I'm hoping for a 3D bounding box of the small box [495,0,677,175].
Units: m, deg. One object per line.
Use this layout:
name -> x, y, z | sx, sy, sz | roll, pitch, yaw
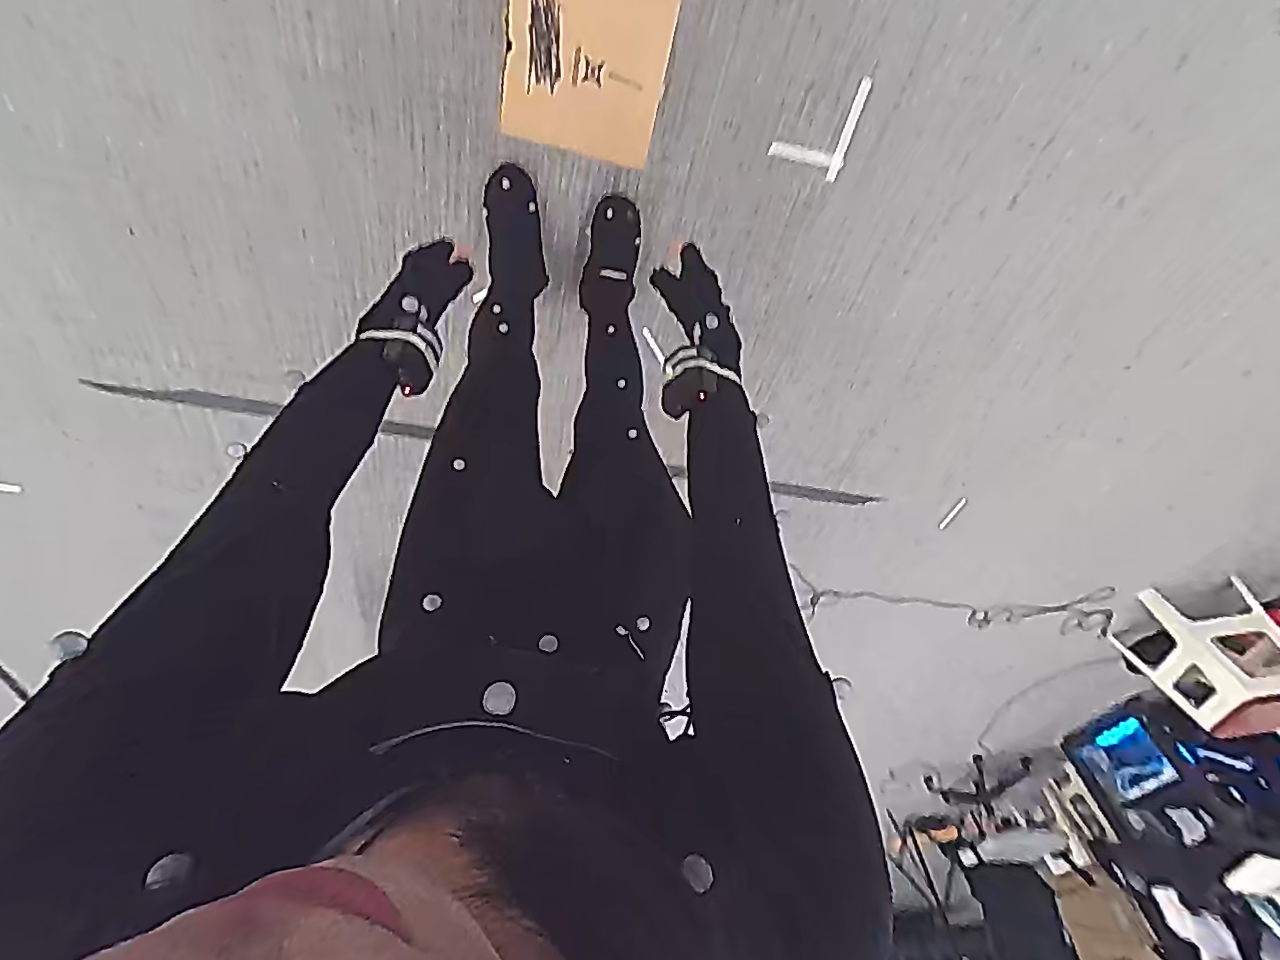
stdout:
small box -> -0.071, -0.499, 0.657 | 0.179, 0.176, 0.168 | 8, 129, -13
